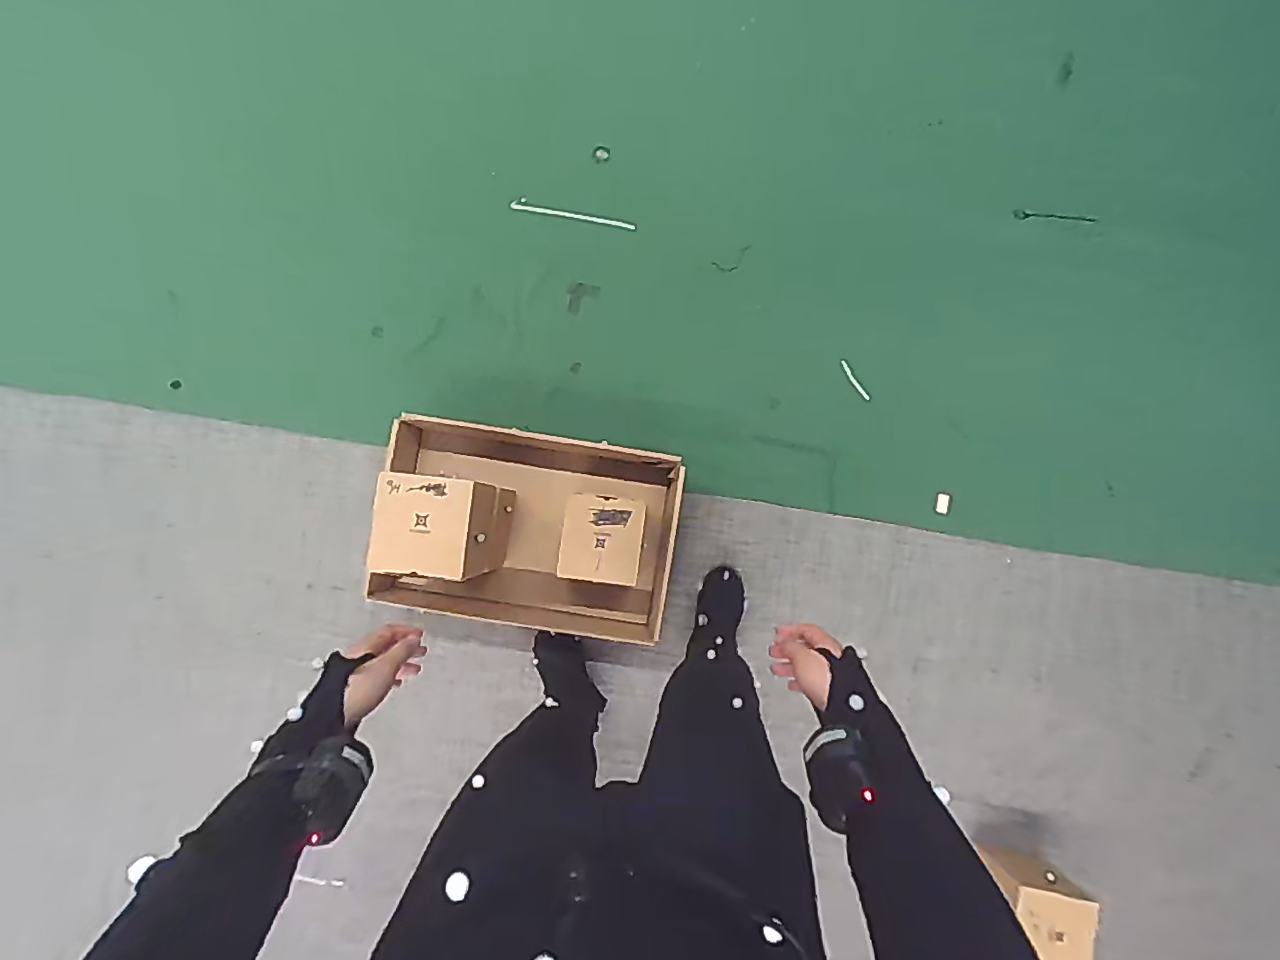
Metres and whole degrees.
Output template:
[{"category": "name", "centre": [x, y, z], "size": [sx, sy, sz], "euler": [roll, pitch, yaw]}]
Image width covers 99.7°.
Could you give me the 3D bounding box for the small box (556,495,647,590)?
[{"category": "small box", "centre": [-0.080, 0.130, 1.169], "size": [0.168, 0.176, 0.179], "euler": [7, 87, -1]}]

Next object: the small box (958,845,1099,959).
[{"category": "small box", "centre": [0.849, 0.948, 1.194], "size": [0.179, 0.176, 0.168], "euler": [14, 84, -1]}]

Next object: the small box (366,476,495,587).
[{"category": "small box", "centre": [-0.375, 0.091, 0.997], "size": [0.168, 0.176, 0.179], "euler": [6, 87, -2]}]
